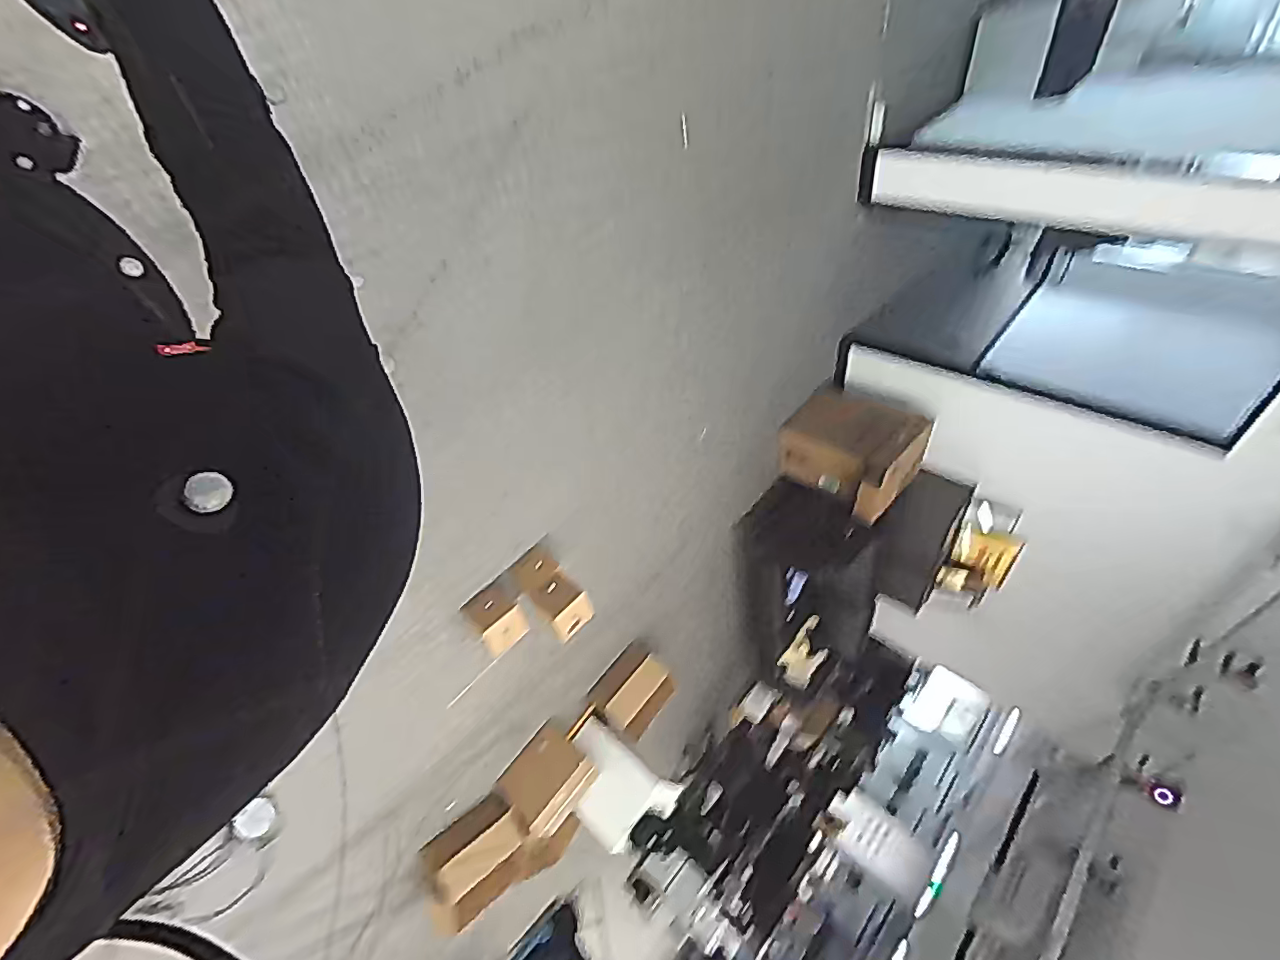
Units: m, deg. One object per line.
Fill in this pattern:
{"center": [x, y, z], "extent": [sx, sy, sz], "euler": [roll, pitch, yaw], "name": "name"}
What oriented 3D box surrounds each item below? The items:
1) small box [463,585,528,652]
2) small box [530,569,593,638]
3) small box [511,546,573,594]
{"center": [-0.581, 0.547, 2.170], "extent": [0.168, 0.176, 0.179], "euler": [-38, 140, -30], "name": "small box"}
{"center": [-0.317, 0.493, 2.185], "extent": [0.168, 0.176, 0.179], "euler": [-41, 141, -27], "name": "small box"}
{"center": [-0.417, 0.403, 2.285], "extent": [0.168, 0.176, 0.179], "euler": [-46, 144, -22], "name": "small box"}
